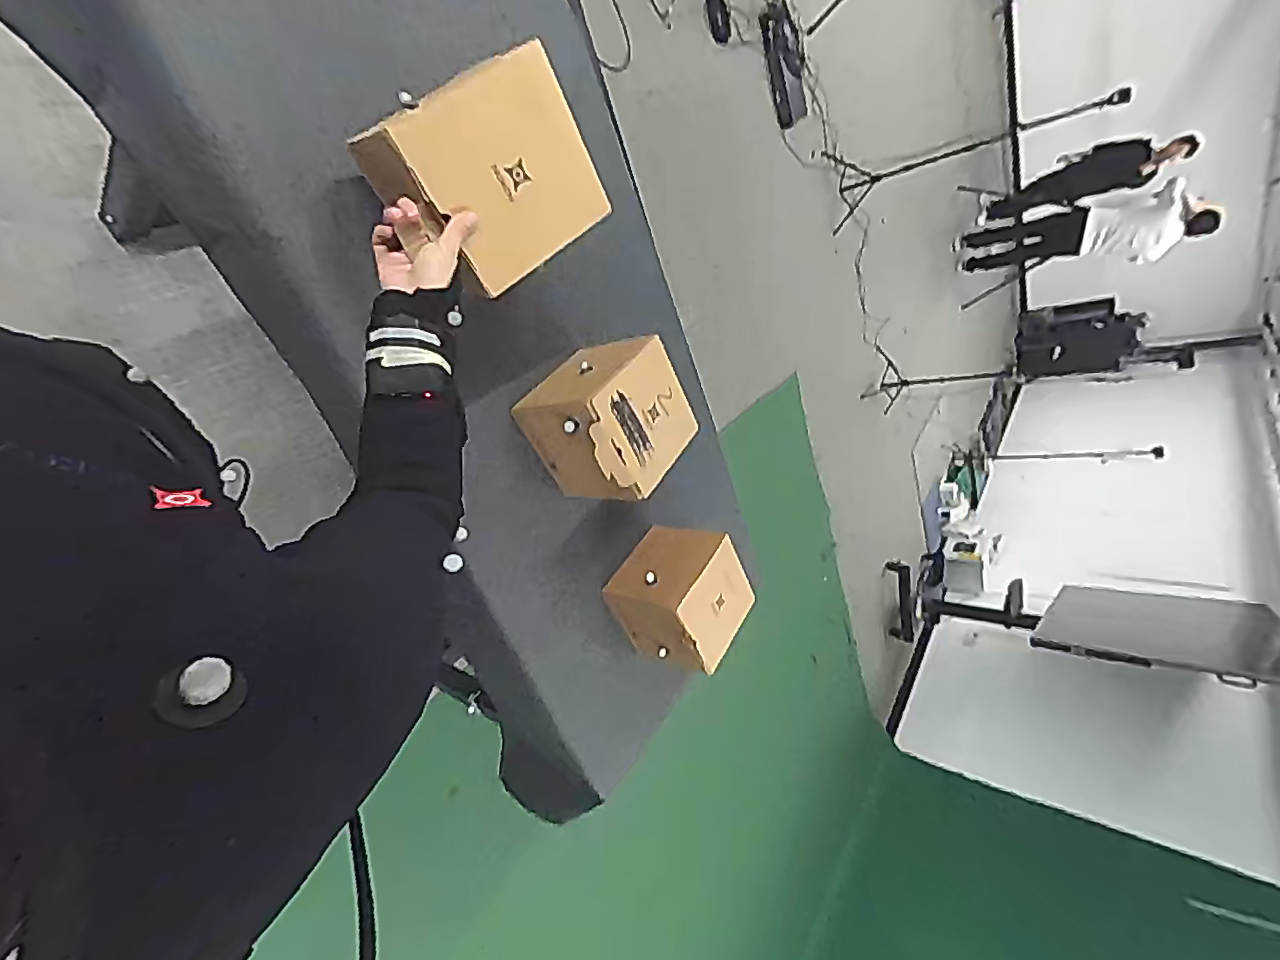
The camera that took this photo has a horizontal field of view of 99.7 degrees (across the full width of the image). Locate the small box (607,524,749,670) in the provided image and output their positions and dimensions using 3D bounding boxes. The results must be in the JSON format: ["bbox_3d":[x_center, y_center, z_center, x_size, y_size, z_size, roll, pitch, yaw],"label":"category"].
[{"bbox_3d":[0.063,0.196,0.952,0.179,0.176,0.168,-50,128,-36],"label":"small box"}]

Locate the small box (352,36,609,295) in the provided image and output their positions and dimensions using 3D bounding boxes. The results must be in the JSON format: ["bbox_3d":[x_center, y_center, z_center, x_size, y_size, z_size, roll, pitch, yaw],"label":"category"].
[{"bbox_3d":[-0.171,-0.329,0.579,0.179,0.176,0.168,-43,133,-13],"label":"small box"}]
